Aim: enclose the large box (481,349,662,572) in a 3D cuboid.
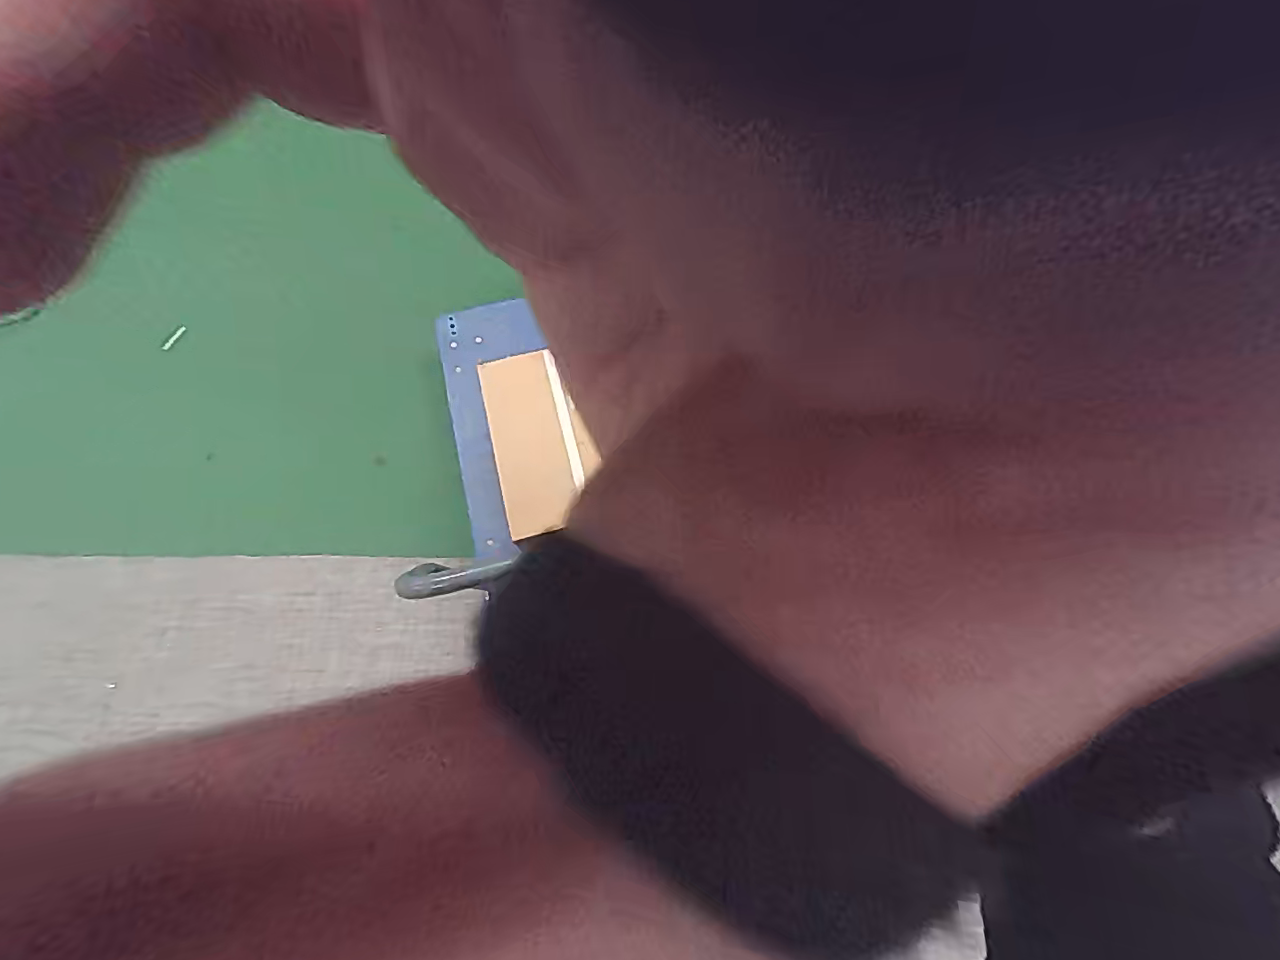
[{"bbox_3d":[-0.152,-0.032,1.288,0.320,0.320,0.408,-14,72,-5],"label":"large box"}]
